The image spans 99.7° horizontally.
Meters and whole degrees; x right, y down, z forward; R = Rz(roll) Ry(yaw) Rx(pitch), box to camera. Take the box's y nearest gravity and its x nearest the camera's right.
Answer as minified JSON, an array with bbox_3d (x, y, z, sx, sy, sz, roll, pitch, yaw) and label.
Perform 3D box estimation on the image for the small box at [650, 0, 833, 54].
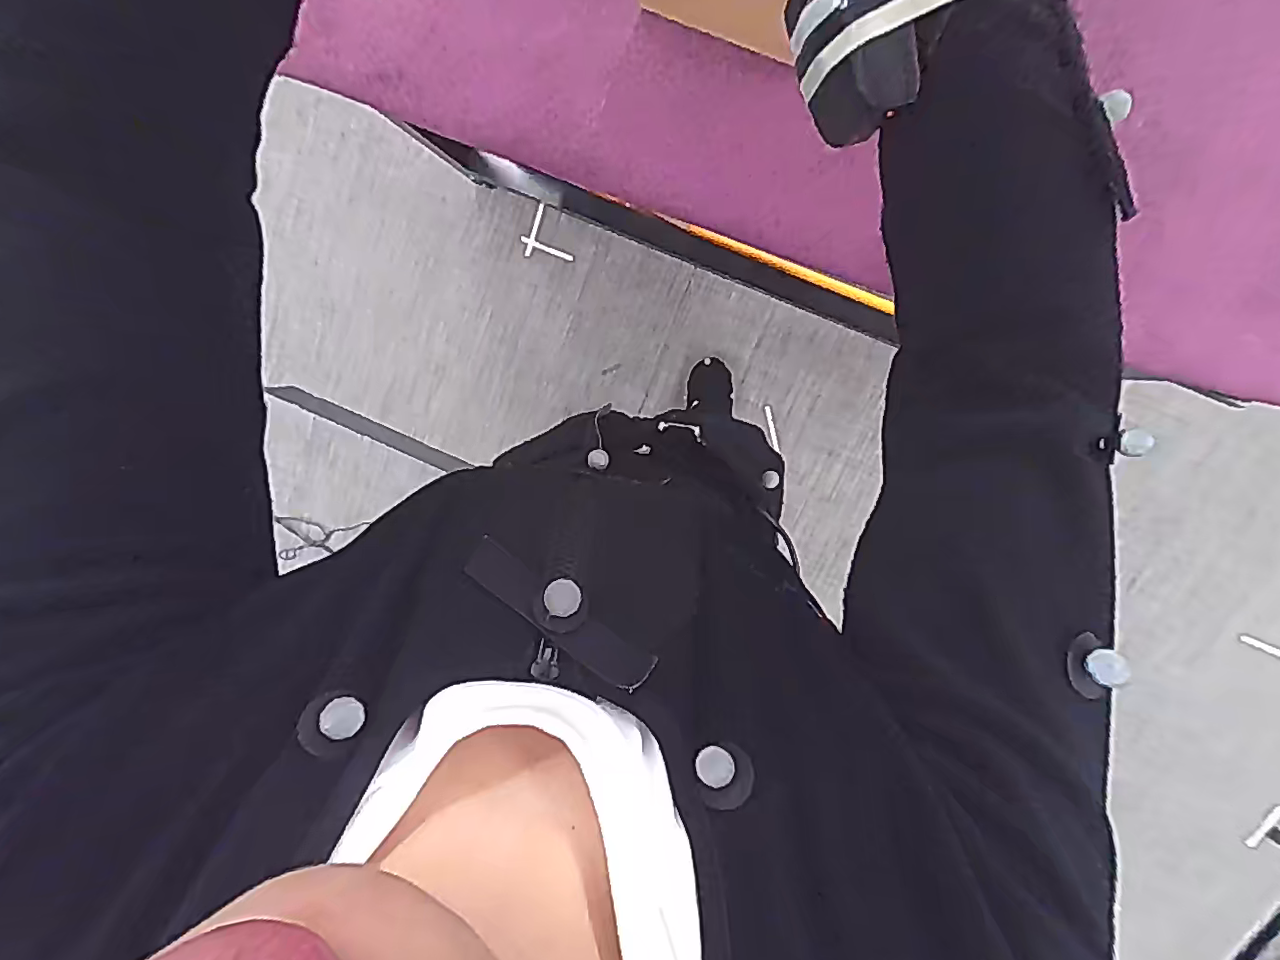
[{"bbox_3d":[0.102,-0.484,0.422,0.179,0.176,0.168,23,103,2],"label":"small box"}]

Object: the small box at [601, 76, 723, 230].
[{"bbox_3d":[0.048,-0.611,1.040,0.168,0.176,0.179,28,105,0],"label":"small box"}]
